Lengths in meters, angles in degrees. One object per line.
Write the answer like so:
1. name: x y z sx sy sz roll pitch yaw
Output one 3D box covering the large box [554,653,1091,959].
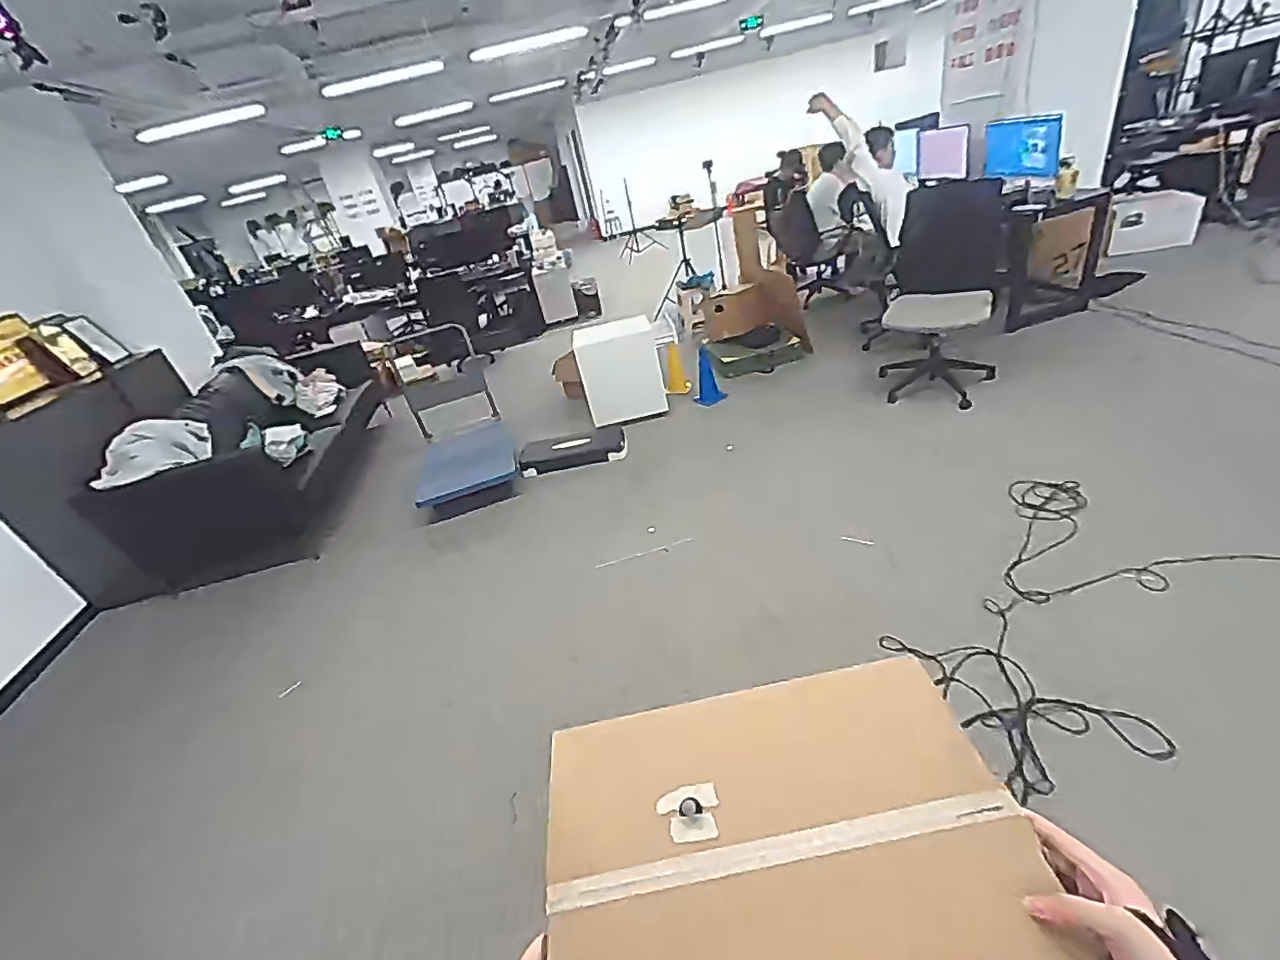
1. large box: 0.150 0.441 0.564 0.408 0.320 0.320 -15 35 3
